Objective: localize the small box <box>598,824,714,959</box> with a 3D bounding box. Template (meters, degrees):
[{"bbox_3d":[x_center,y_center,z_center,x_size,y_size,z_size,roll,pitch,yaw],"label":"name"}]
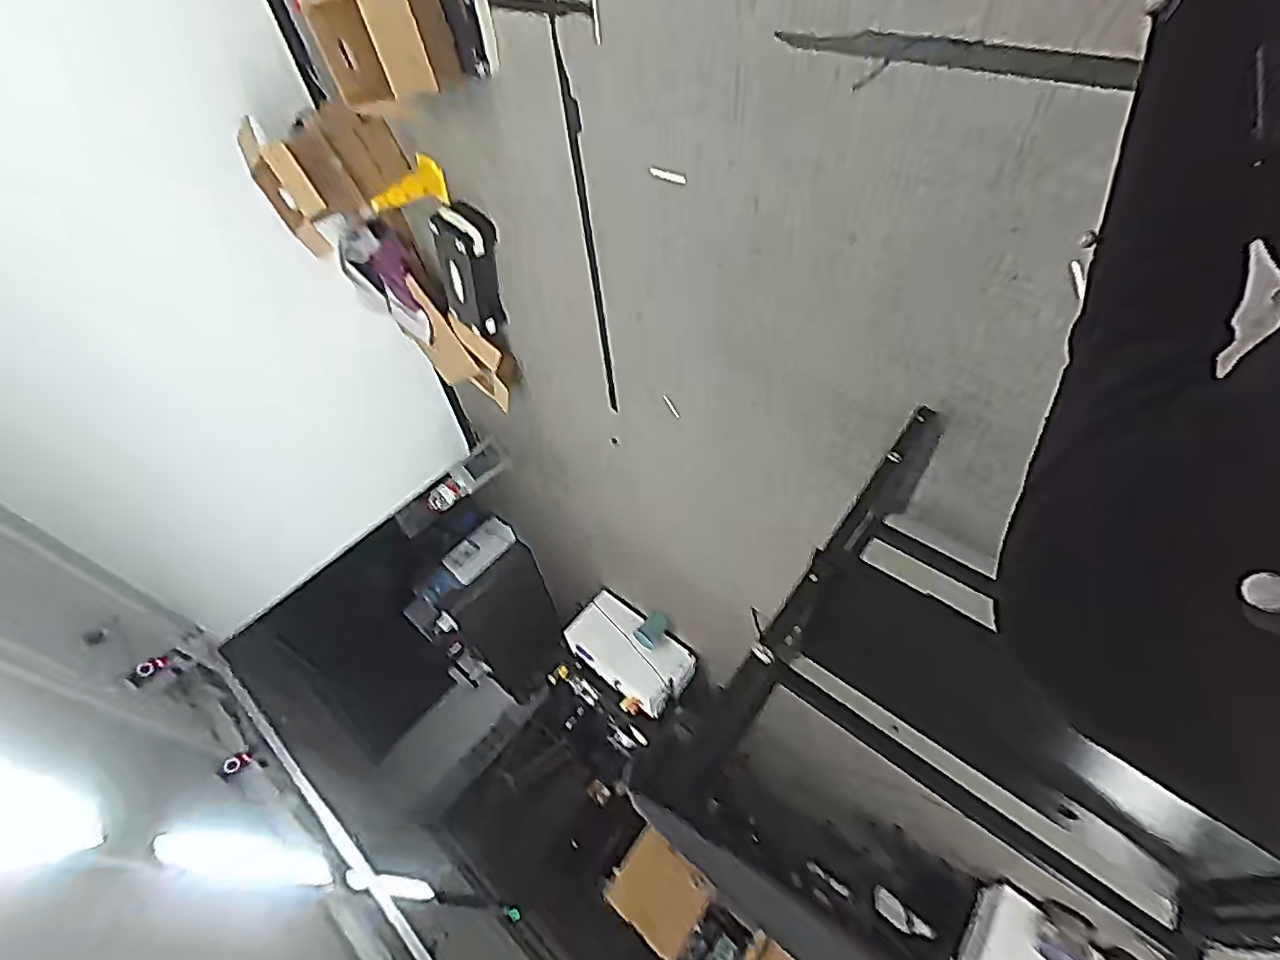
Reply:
[{"bbox_3d":[0.038,0.838,1.107,0.168,0.176,0.179,32,153,24],"label":"small box"}]

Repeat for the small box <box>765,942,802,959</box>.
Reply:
[{"bbox_3d":[0.285,0.996,0.989,0.168,0.176,0.179,30,151,27],"label":"small box"}]

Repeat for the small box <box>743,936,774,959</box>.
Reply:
[{"bbox_3d":[0.291,1.151,1.190,0.168,0.176,0.179,30,149,27],"label":"small box"}]
